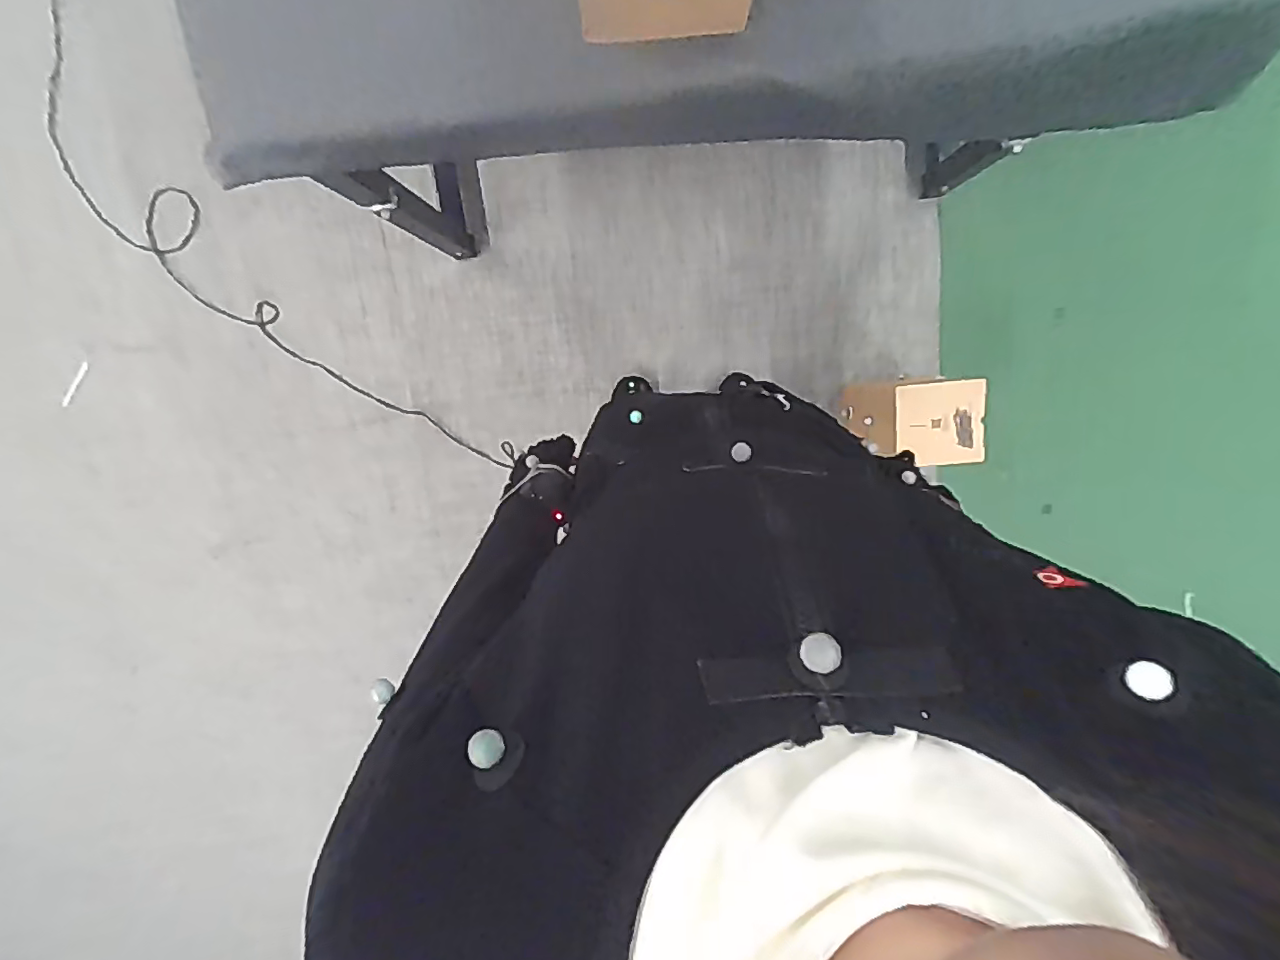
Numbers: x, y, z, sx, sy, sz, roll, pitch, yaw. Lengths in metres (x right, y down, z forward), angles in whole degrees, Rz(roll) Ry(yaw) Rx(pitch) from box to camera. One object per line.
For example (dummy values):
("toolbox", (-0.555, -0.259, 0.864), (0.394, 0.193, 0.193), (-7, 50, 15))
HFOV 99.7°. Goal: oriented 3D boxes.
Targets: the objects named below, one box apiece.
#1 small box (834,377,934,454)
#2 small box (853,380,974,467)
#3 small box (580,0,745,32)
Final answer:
("small box", (0.588, -0.160, 1.314), (0.179, 0.176, 0.168), (-6, 100, 3))
("small box", (0.574, -0.125, 1.153), (0.179, 0.176, 0.168), (-3, 100, 2))
("small box", (0.020, -0.553, 0.496), (0.179, 0.176, 0.168), (-2, 101, 1))
